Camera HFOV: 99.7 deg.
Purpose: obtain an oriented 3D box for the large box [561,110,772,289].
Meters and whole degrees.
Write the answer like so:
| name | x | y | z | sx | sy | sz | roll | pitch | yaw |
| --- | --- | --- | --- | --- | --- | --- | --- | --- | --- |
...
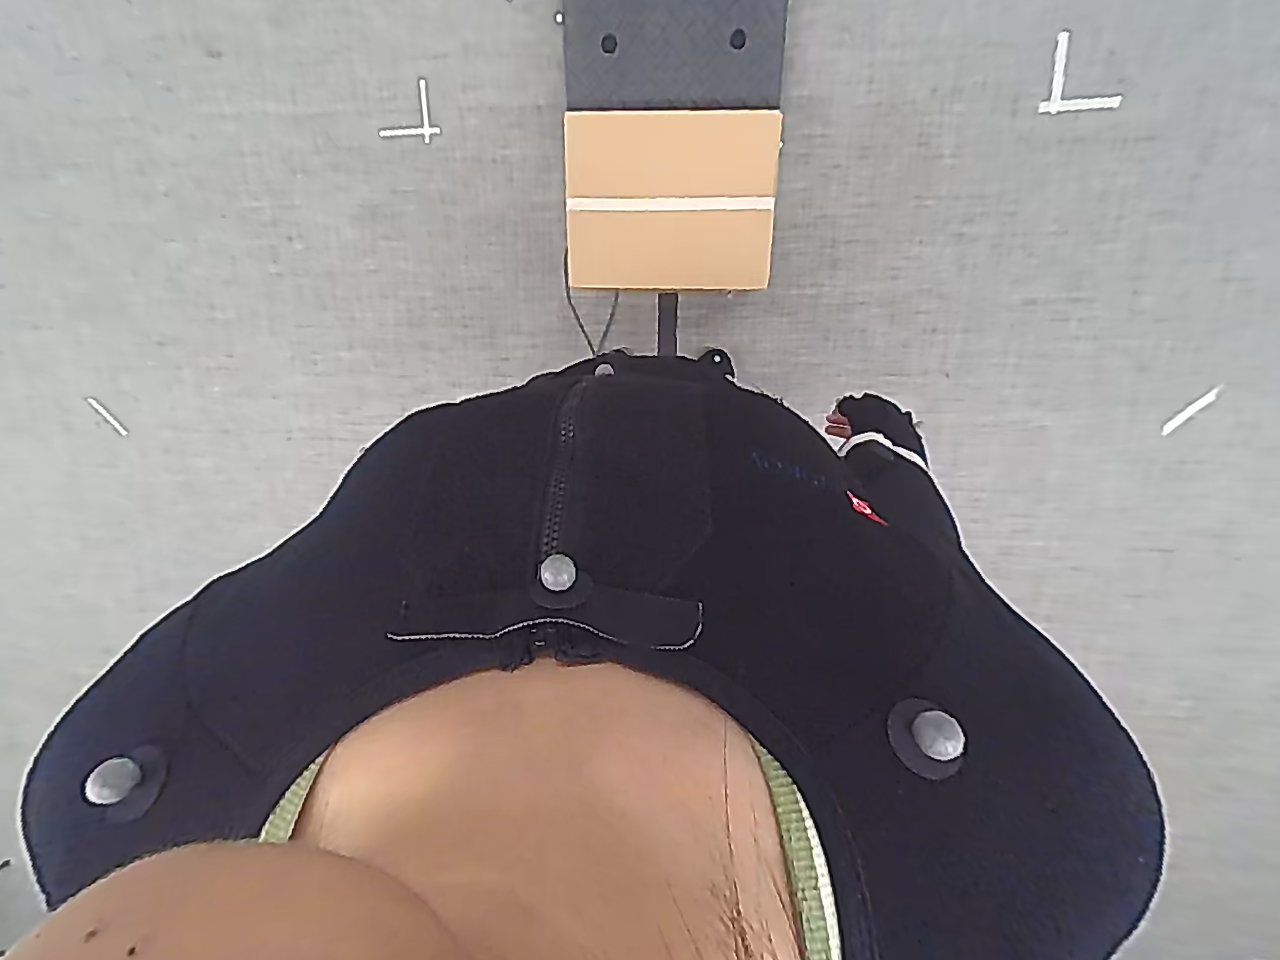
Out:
| name | x | y | z | sx | sy | sz | roll | pitch | yaw |
| --- | --- | --- | --- | --- | --- | --- | --- | --- | --- |
| large box | 0.059 | -0.587 | 1.194 | 0.408 | 0.320 | 0.320 | 2 | 108 | 3 |

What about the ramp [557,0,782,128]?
| name | x | y | z | sx | sy | sz | roll | pitch | yaw |
| --- | --- | --- | --- | --- | --- | --- | --- | --- | --- |
| ramp | 0.063 | -1.172 | 1.114 | 0.509 | 0.206 | 0.991 | -1 | 104 | 2 |
